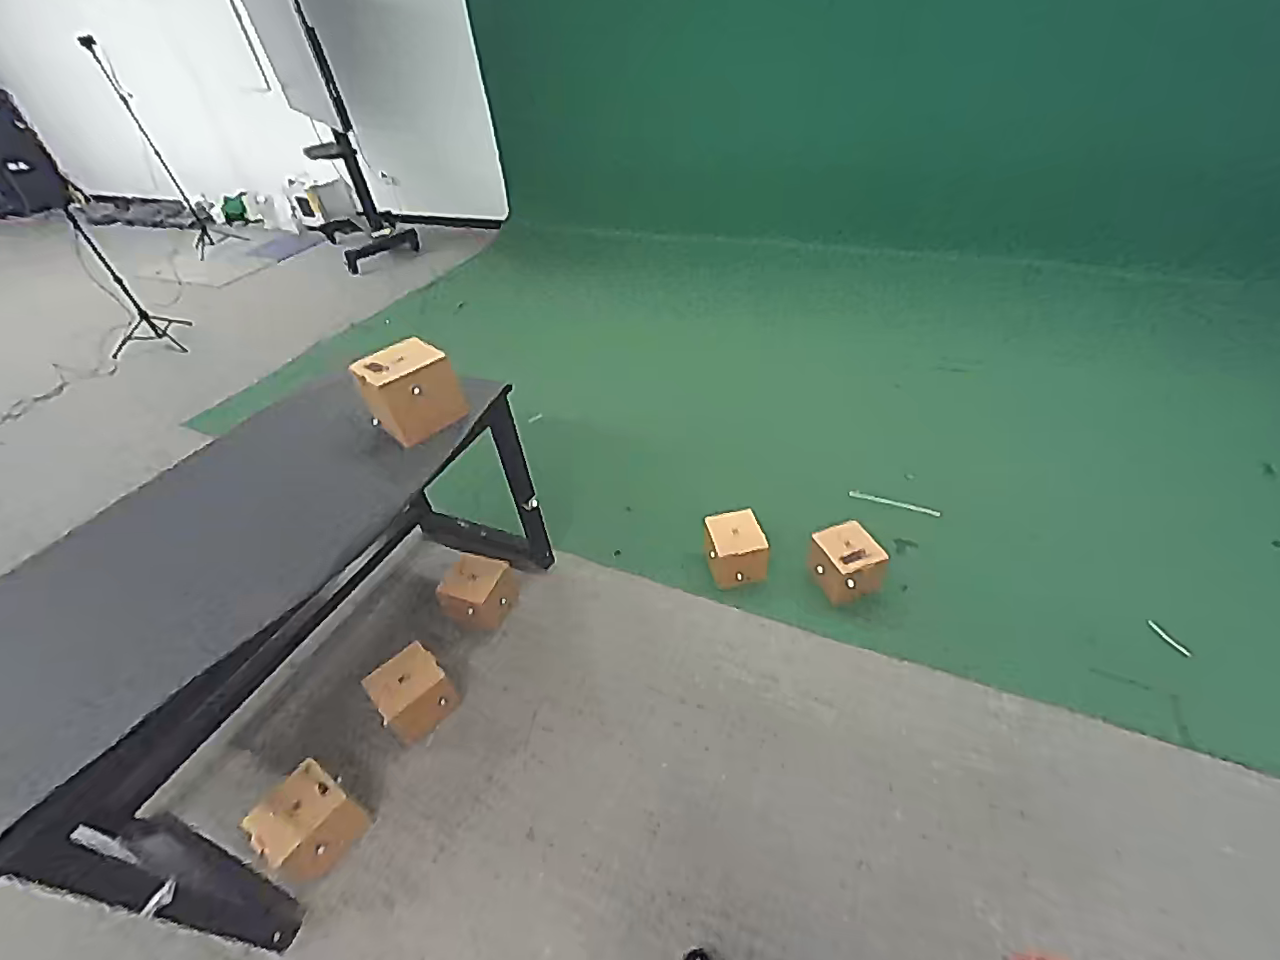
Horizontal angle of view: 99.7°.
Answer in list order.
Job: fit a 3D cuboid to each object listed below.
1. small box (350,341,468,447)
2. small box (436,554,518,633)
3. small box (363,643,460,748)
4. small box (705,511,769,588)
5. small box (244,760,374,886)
[{"bbox_3d":[-0.546,-0.205,1.296,0.168,0.176,0.179,30,54,36],"label":"small box"},{"bbox_3d":[-0.519,0.371,1.751,0.179,0.176,0.168,10,44,17],"label":"small box"},{"bbox_3d":[-0.627,0.602,1.512,0.168,0.176,0.179,30,55,34],"label":"small box"},{"bbox_3d":[0.318,0.234,1.810,0.168,0.176,0.179,-11,43,-6],"label":"small box"},{"bbox_3d":[-0.781,0.820,1.290,0.168,0.176,0.179,24,51,28],"label":"small box"}]
